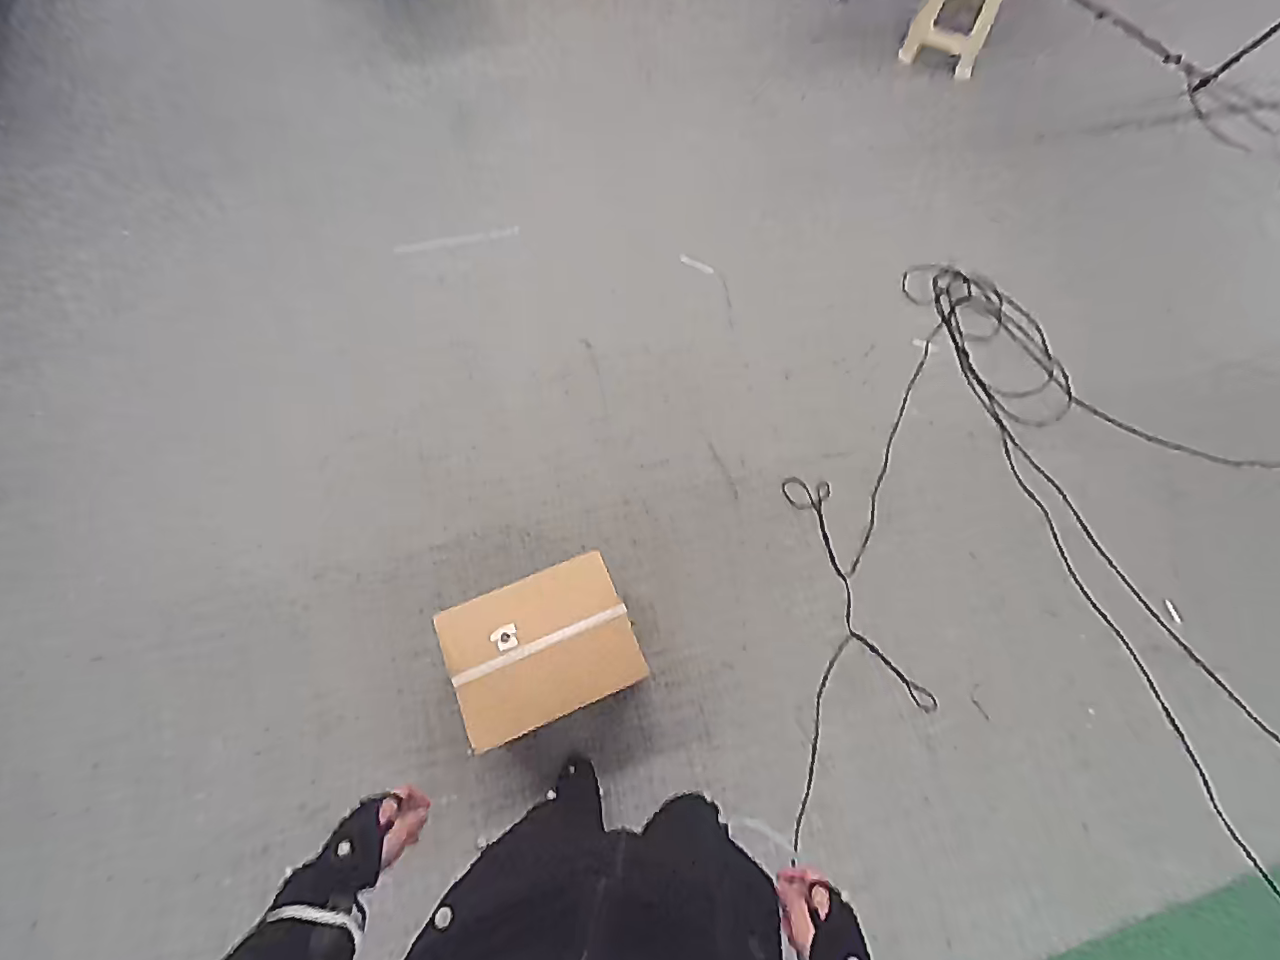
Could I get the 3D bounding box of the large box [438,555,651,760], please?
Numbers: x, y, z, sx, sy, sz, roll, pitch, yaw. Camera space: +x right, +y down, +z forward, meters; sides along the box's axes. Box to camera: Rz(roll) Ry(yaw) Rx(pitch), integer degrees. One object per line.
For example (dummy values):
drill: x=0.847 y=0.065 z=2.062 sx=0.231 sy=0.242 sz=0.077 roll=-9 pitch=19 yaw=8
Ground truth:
large box: x=-0.222 y=0.431 z=1.342 sx=0.408 sy=0.320 sz=0.320 roll=-21 pitch=71 yaw=-11
